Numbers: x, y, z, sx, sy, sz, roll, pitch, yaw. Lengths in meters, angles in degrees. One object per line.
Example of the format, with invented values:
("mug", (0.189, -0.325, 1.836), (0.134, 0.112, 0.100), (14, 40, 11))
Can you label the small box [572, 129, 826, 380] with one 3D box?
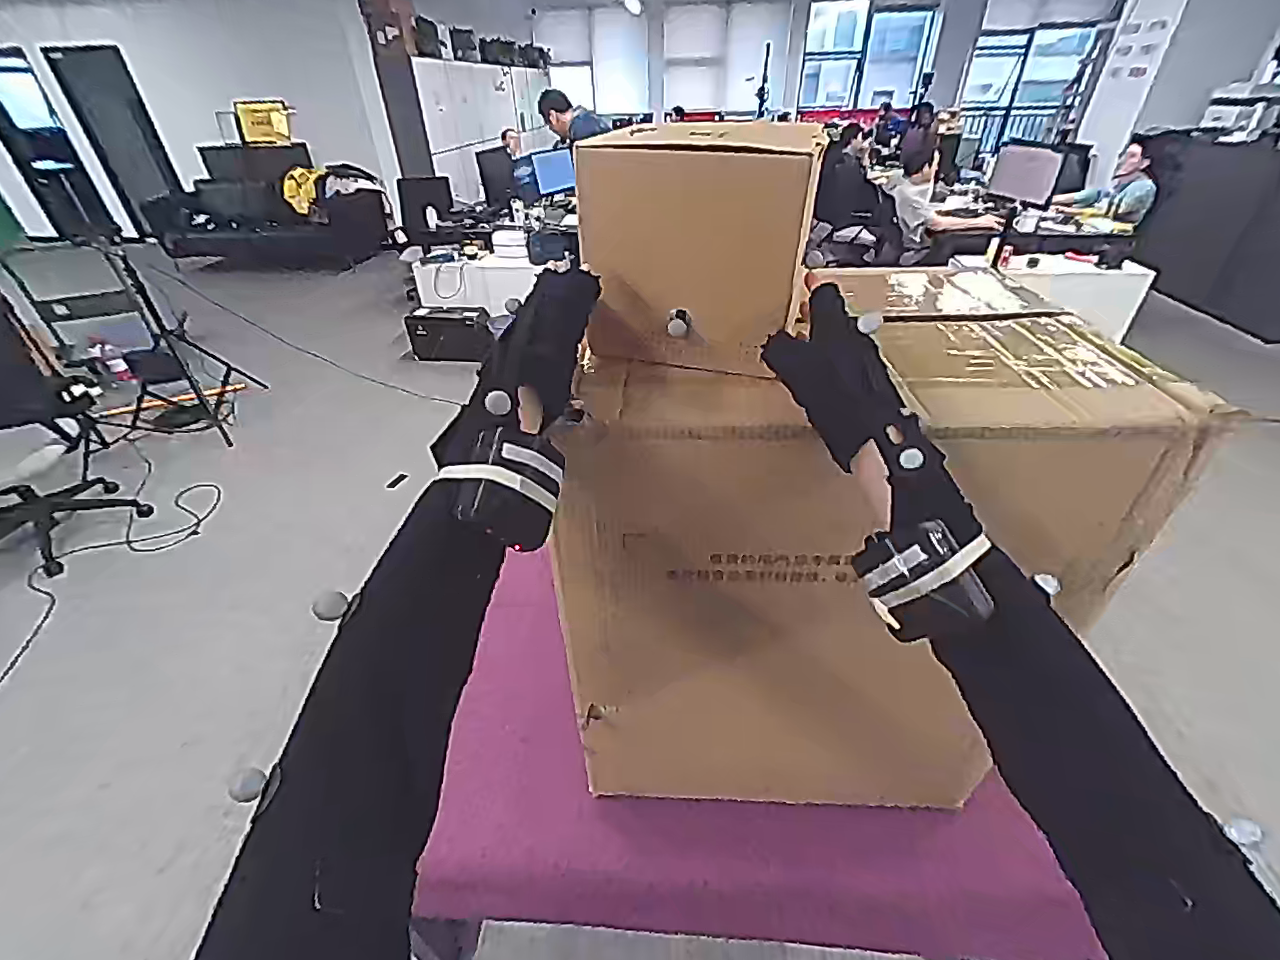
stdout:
("small box", (0.056, -0.205, 0.486), (0.179, 0.176, 0.168), (11, 39, 15))
